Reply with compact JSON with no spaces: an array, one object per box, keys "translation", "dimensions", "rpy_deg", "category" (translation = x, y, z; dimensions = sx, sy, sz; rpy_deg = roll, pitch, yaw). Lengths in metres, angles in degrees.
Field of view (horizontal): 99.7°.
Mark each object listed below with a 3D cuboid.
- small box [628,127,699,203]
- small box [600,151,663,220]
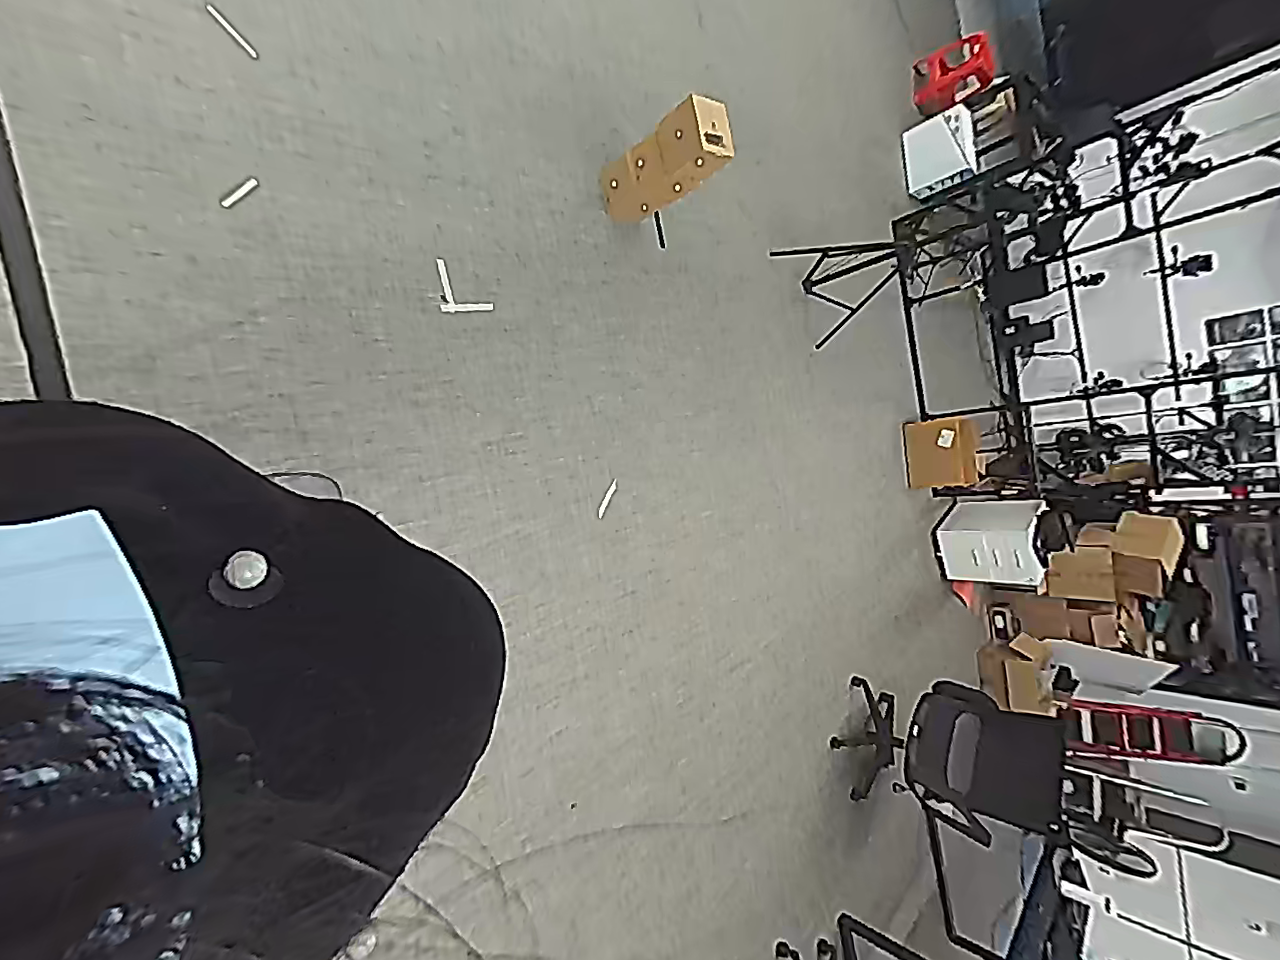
[{"translation":[0.083,-1.115,1.930],"dimensions":[0.179,0.176,0.168],"rpy_deg":[-15,96,-41],"category":"small box"},{"translation":[-0.032,-1.106,2.044],"dimensions":[0.179,0.176,0.168],"rpy_deg":[-18,99,-42],"category":"small box"}]
